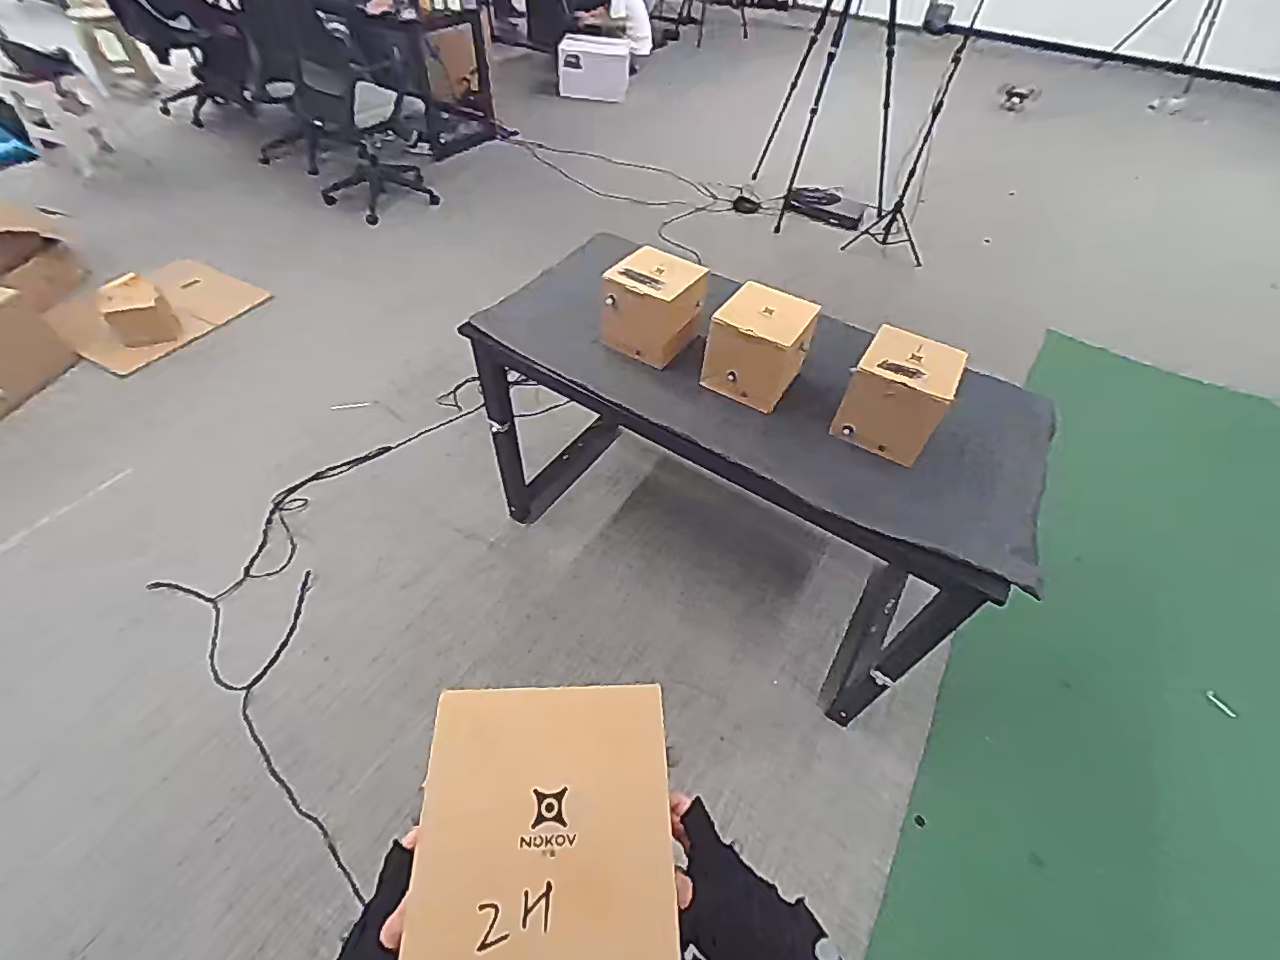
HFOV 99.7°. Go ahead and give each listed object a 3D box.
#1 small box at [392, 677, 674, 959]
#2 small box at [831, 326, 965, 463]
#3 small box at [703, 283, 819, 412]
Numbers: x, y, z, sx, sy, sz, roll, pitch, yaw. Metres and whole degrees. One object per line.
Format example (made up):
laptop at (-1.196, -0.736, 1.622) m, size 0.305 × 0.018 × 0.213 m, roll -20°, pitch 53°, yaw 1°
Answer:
small box at (-0.071, 0.268, 0.422) m, size 0.168 × 0.176 × 0.179 m, roll 1°, pitch 54°, yaw -5°
small box at (0.491, -0.163, 1.049) m, size 0.168 × 0.176 × 0.179 m, roll 27°, pitch 52°, yaw 18°
small box at (0.245, -0.275, 1.130) m, size 0.168 × 0.176 × 0.179 m, roll 27°, pitch 54°, yaw 18°
